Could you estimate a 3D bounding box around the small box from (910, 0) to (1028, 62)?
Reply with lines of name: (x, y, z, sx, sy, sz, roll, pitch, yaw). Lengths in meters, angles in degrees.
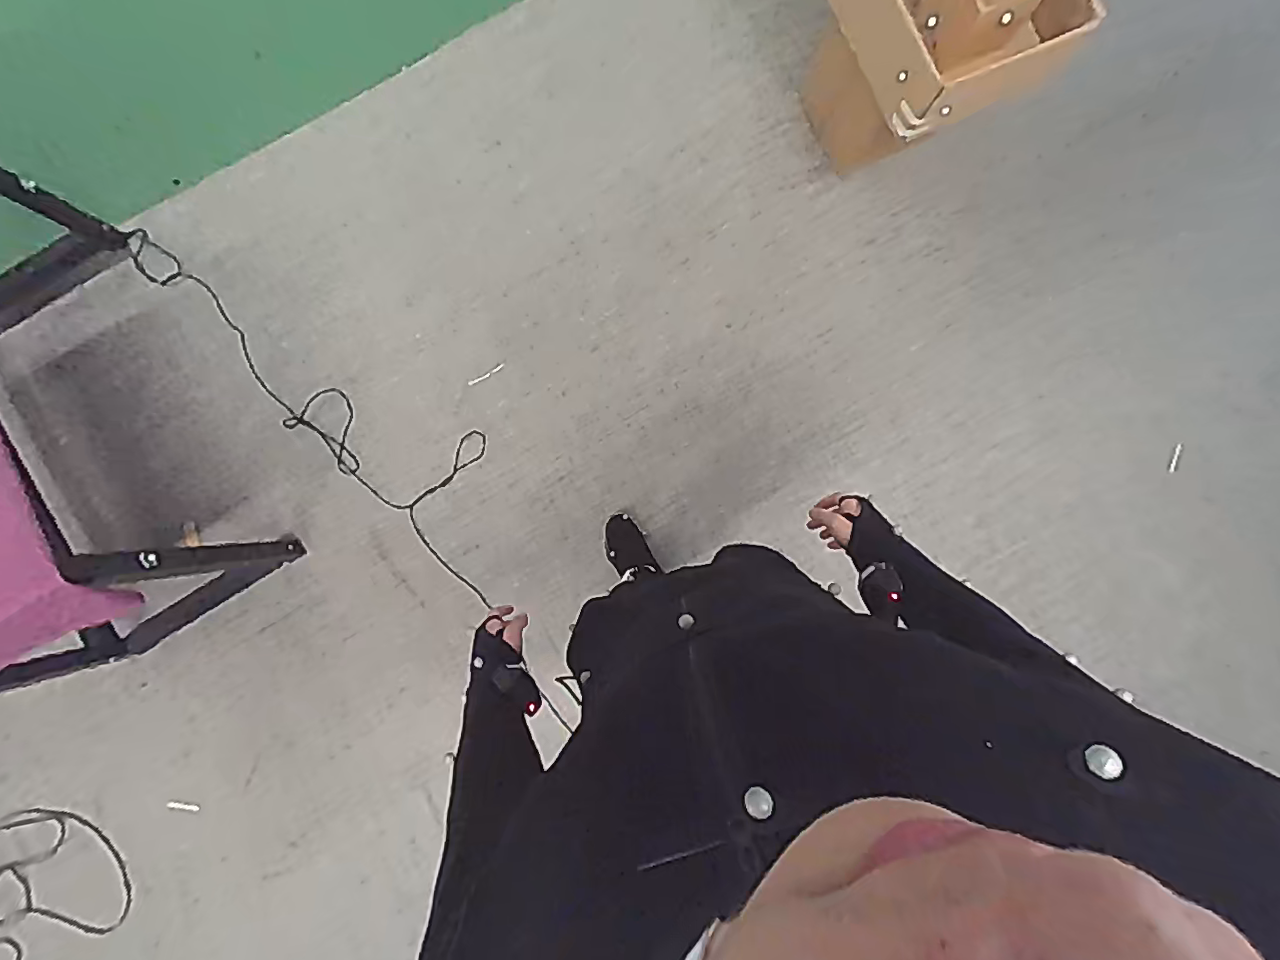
small box: (0.750, -1.098, 1.209, 0.179, 0.176, 0.168, -24, 88, -1)
